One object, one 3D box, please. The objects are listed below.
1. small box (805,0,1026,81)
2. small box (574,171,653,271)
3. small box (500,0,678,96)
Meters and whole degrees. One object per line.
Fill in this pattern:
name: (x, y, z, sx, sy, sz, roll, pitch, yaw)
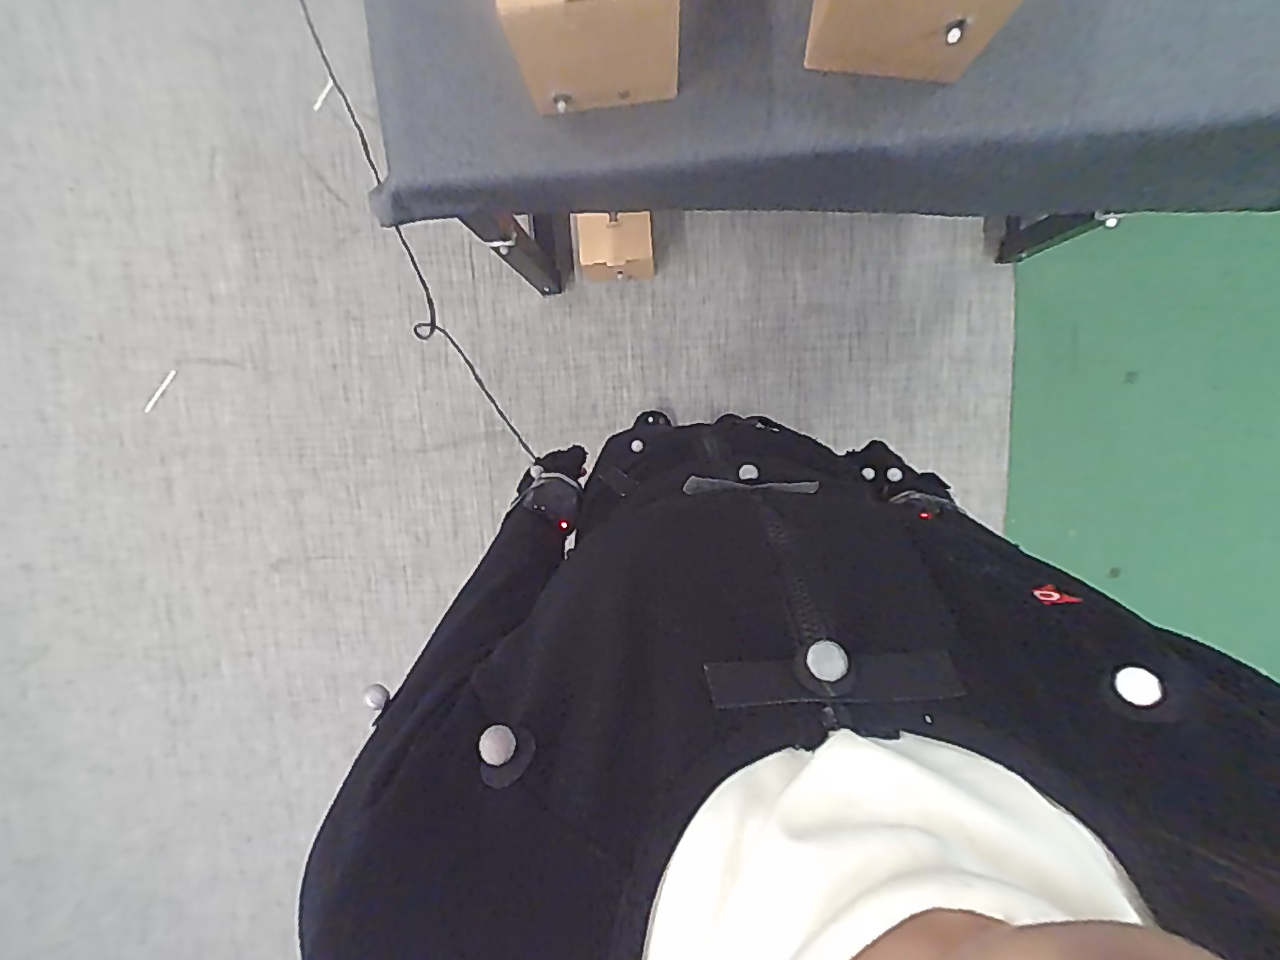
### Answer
small box: (0.283, -0.537, 0.538, 0.179, 0.176, 0.168, 8, 97, 2)
small box: (-0.057, -0.602, 1.278, 0.168, 0.176, 0.179, -3, 98, 3)
small box: (-0.047, -0.525, 0.549, 0.168, 0.176, 0.179, -4, 96, 2)
